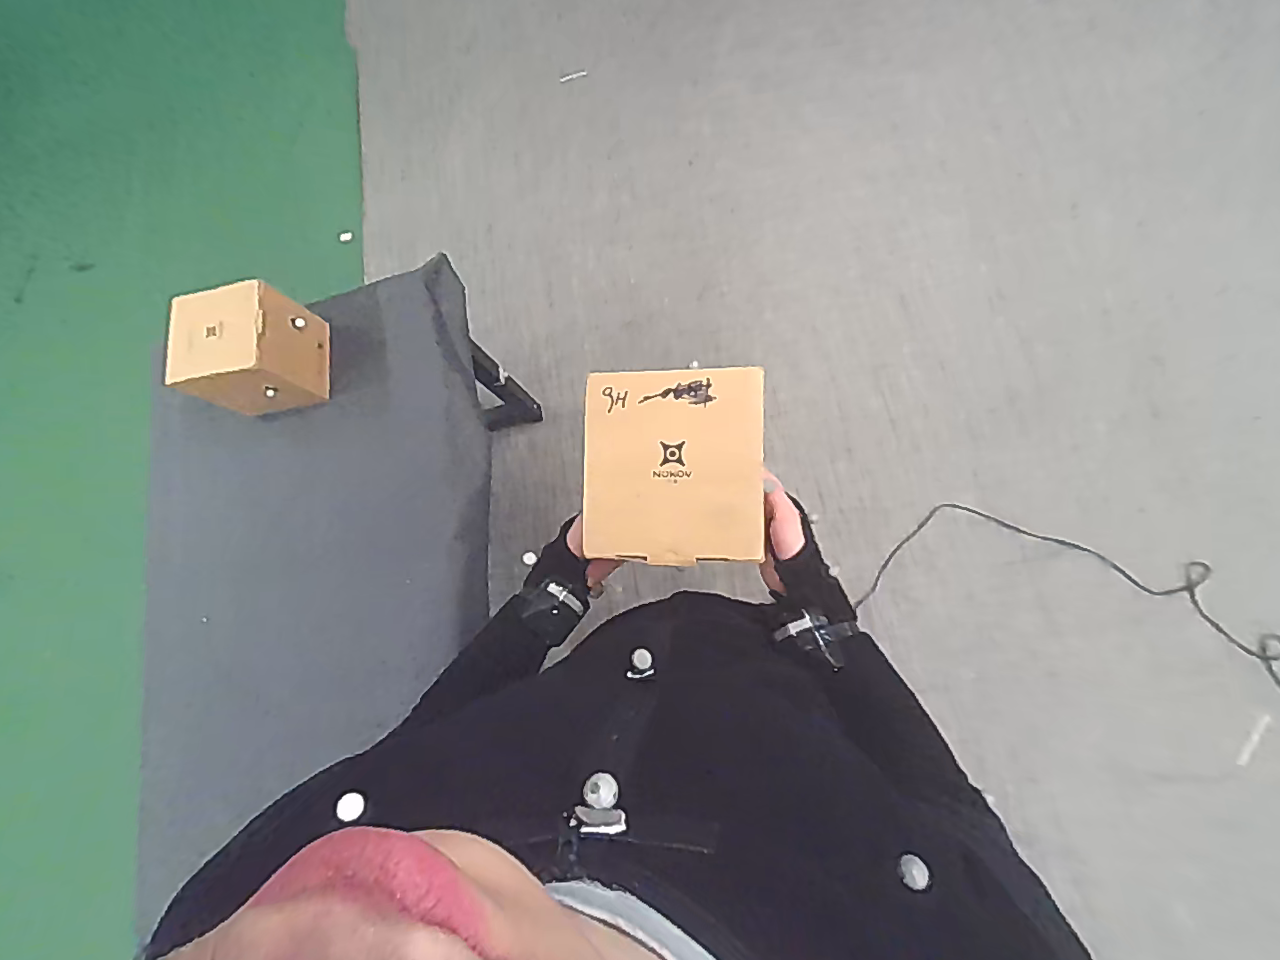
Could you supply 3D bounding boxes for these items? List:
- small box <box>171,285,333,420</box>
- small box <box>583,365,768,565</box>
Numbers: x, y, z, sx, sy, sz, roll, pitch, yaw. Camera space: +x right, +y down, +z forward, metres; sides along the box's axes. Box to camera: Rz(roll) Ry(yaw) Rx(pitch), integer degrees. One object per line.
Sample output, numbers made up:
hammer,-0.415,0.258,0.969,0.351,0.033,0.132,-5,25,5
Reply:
small box,-0.694,-0.223,0.987,0.179,0.176,0.168,-10,74,9
small box,0.045,-0.010,0.558,0.168,0.176,0.179,0,85,10
